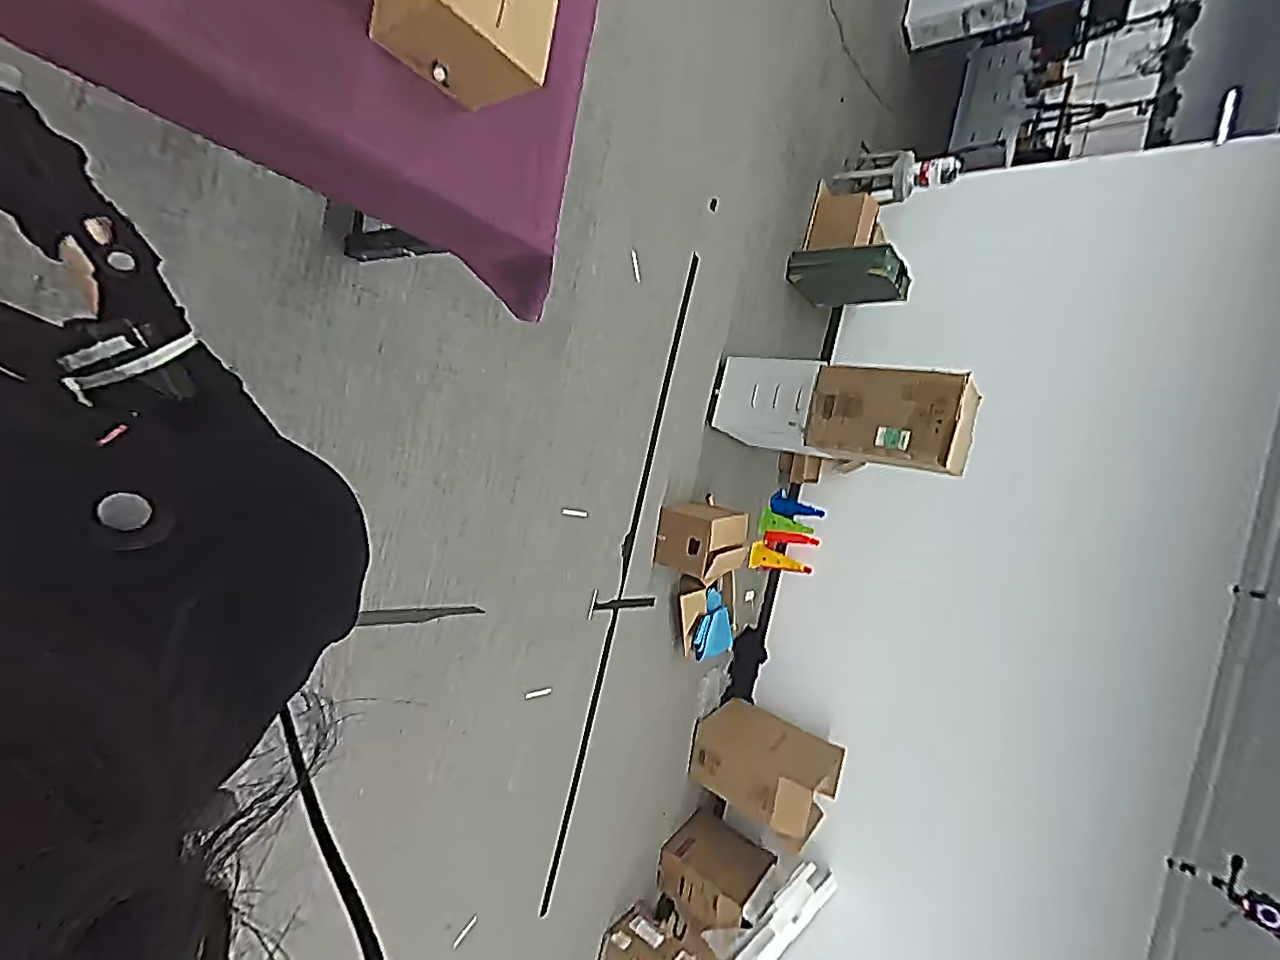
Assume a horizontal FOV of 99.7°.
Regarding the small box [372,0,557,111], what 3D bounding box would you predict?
[{"bbox_3d":[-0.234,-0.647,0.729,0.168,0.176,0.179,6,96,-54],"label":"small box"}]
